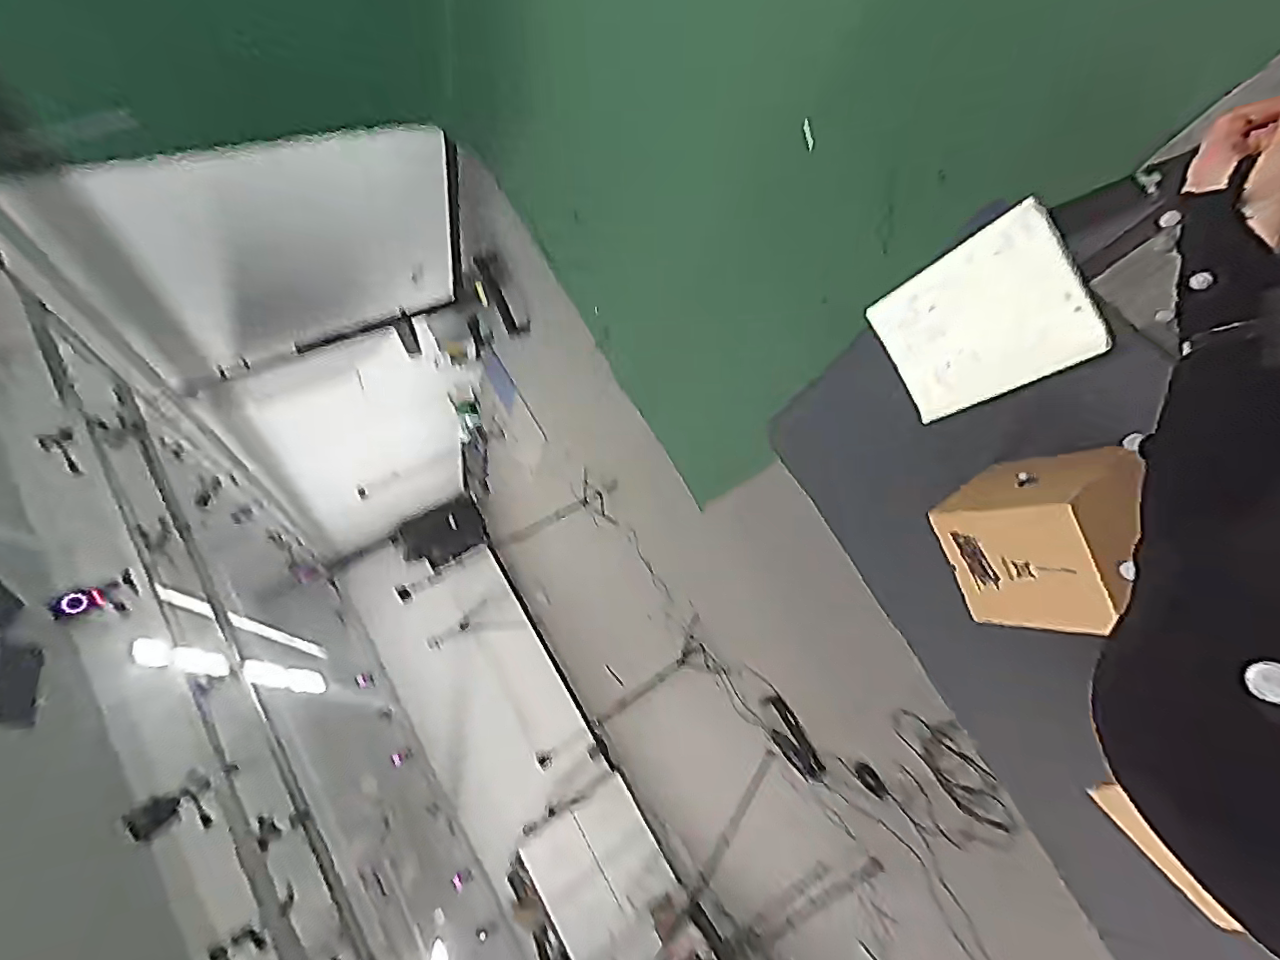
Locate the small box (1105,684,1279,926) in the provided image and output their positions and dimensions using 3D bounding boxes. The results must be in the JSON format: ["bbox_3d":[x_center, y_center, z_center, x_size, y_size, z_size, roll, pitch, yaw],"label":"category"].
[{"bbox_3d":[0.730,0.379,0.639,0.179,0.176,0.168,51,152,26],"label":"small box"}]

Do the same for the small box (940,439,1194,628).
[{"bbox_3d":[0.537,0.064,0.689,0.168,0.176,0.179,63,155,-3],"label":"small box"}]
